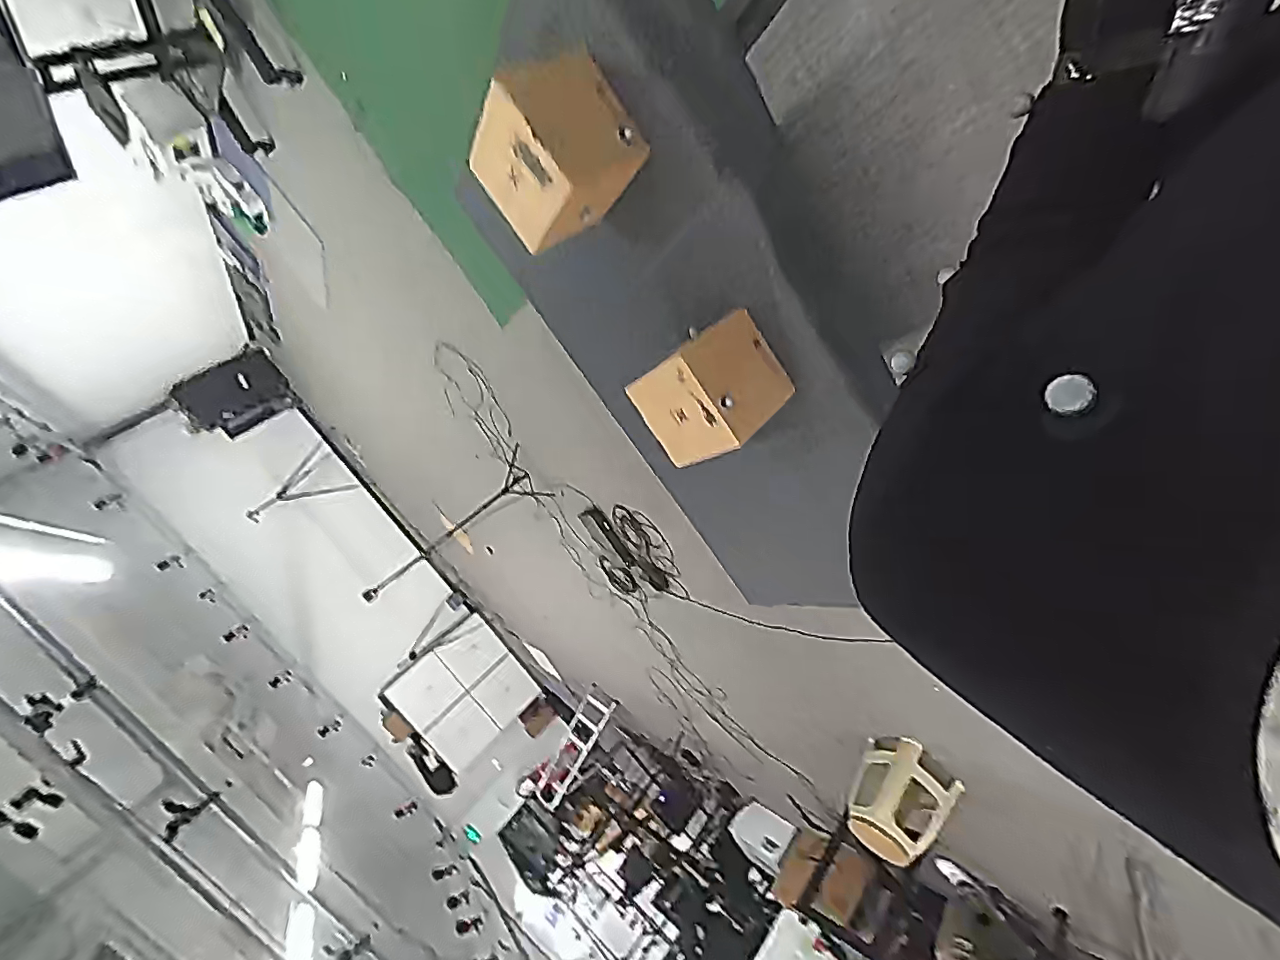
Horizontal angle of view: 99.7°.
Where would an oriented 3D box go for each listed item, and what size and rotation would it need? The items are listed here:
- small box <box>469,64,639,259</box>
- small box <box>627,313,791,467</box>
[{"bbox_3d":[-0.126,-0.480,0.822,0.168,0.176,0.179,53,152,-11],"label":"small box"},{"bbox_3d":[0.116,-0.147,0.908,0.168,0.176,0.179,53,152,-11],"label":"small box"}]
